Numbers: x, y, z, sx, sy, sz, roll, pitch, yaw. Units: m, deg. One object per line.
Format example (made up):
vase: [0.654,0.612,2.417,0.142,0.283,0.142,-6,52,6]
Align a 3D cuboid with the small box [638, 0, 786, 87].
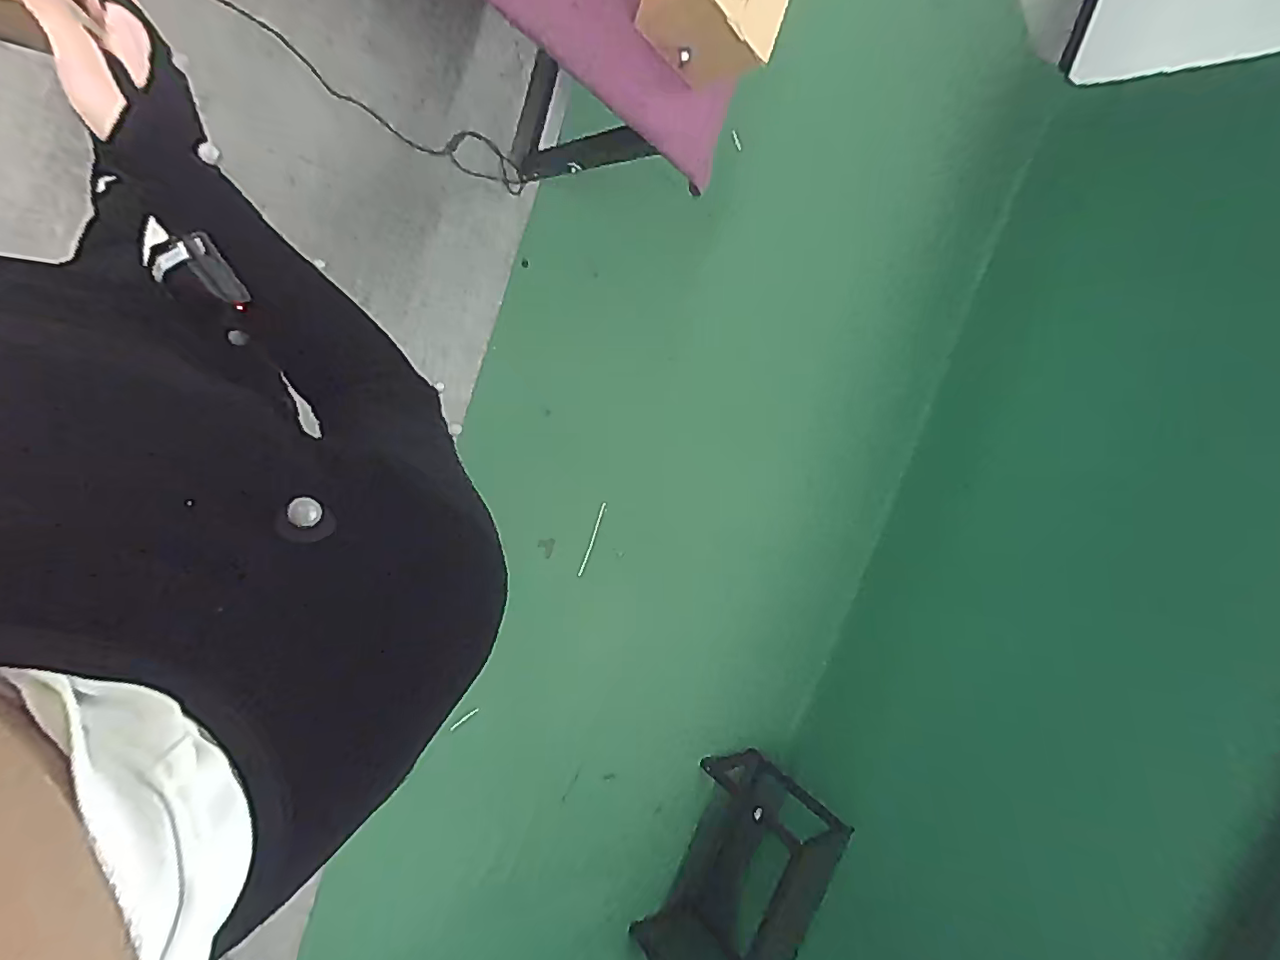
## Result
small box: [0.122,-0.798,0.885,0.168,0.176,0.179,16,96,-42]

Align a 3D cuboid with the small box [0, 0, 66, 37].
small box: [-0.497,-0.425,0.339,0.168,0.176,0.179,-8,114,-41]
